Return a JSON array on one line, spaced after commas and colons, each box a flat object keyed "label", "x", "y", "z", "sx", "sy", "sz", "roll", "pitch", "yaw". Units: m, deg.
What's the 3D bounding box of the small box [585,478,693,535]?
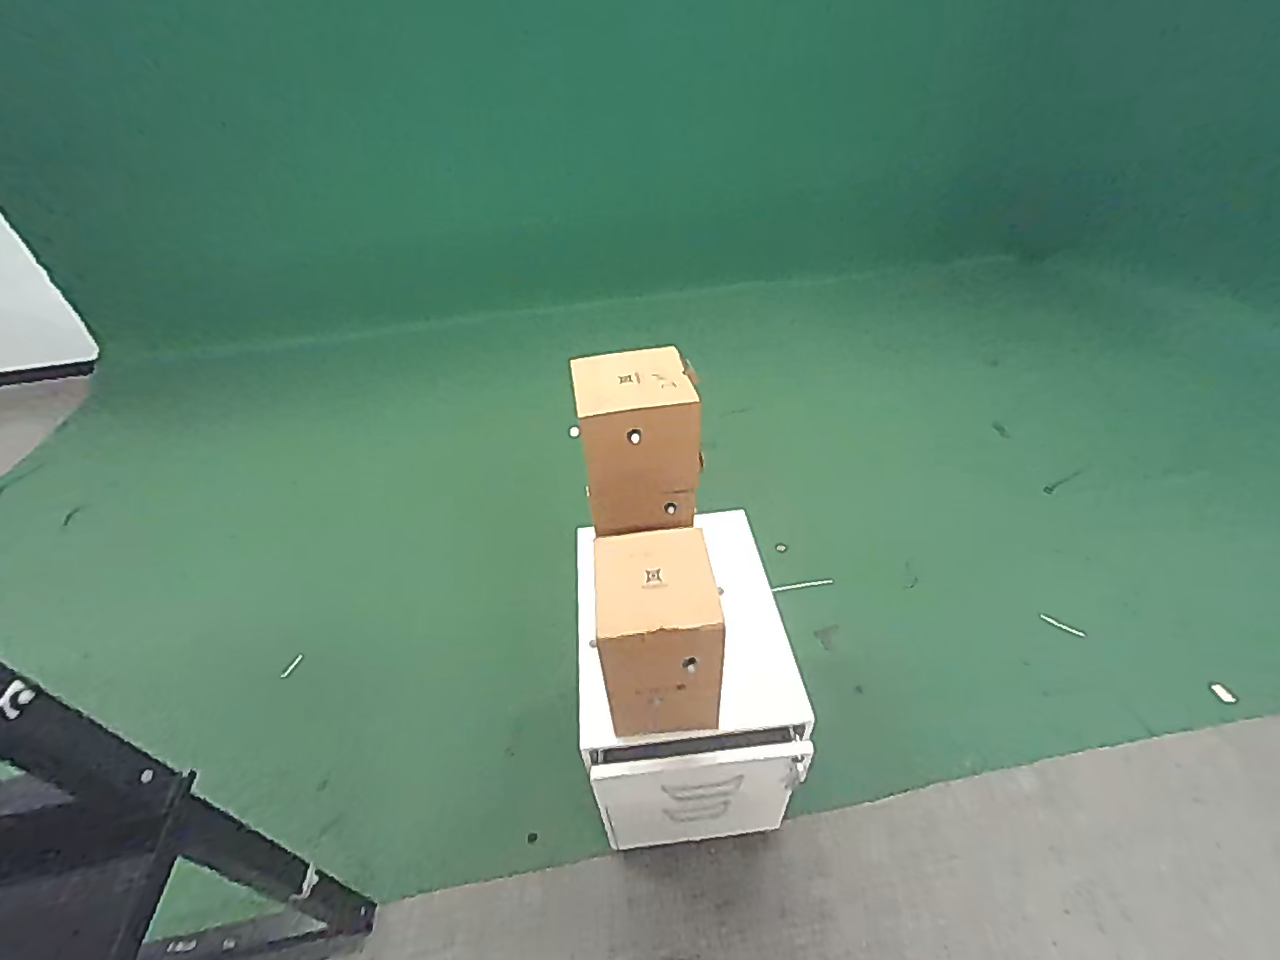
[{"label": "small box", "x": 0.001, "y": 0.024, "z": 0.966, "sx": 0.179, "sy": 0.176, "sz": 0.168, "roll": -3, "pitch": 41, "yaw": 0}]

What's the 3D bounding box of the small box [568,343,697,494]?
[{"label": "small box", "x": -0.012, "y": -0.095, "z": 0.853, "sx": 0.179, "sy": 0.176, "sz": 0.168, "roll": -8, "pitch": 42, "yaw": -6}]

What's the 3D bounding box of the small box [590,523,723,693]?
[{"label": "small box", "x": 0.021, "y": 0.188, "z": 0.777, "sx": 0.168, "sy": 0.176, "sz": 0.179, "roll": -6, "pitch": 40, "yaw": -3}]

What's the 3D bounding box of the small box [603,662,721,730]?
[{"label": "small box", "x": 0.034, "y": 0.298, "z": 0.897, "sx": 0.179, "sy": 0.176, "sz": 0.168, "roll": -4, "pitch": 41, "yaw": 0}]
